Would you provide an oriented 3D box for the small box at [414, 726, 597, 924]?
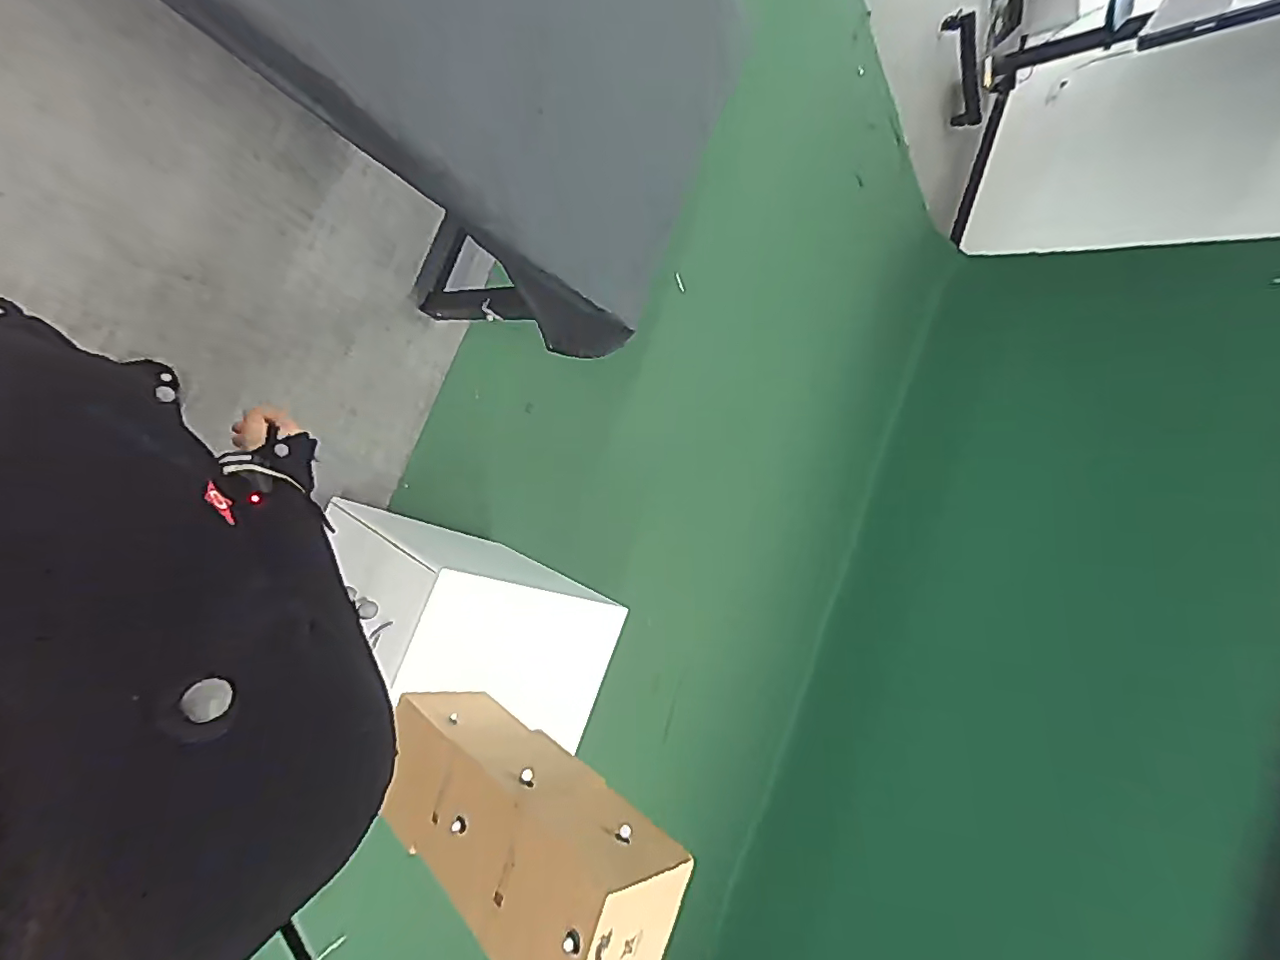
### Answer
[{"bbox_3d":[-0.199,0.486,0.795,0.179,0.176,0.168,22,85,-49],"label":"small box"}]

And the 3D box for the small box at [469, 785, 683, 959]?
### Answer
[{"bbox_3d":[-0.080,0.519,0.688,0.179,0.176,0.168,26,82,-50],"label":"small box"}]
